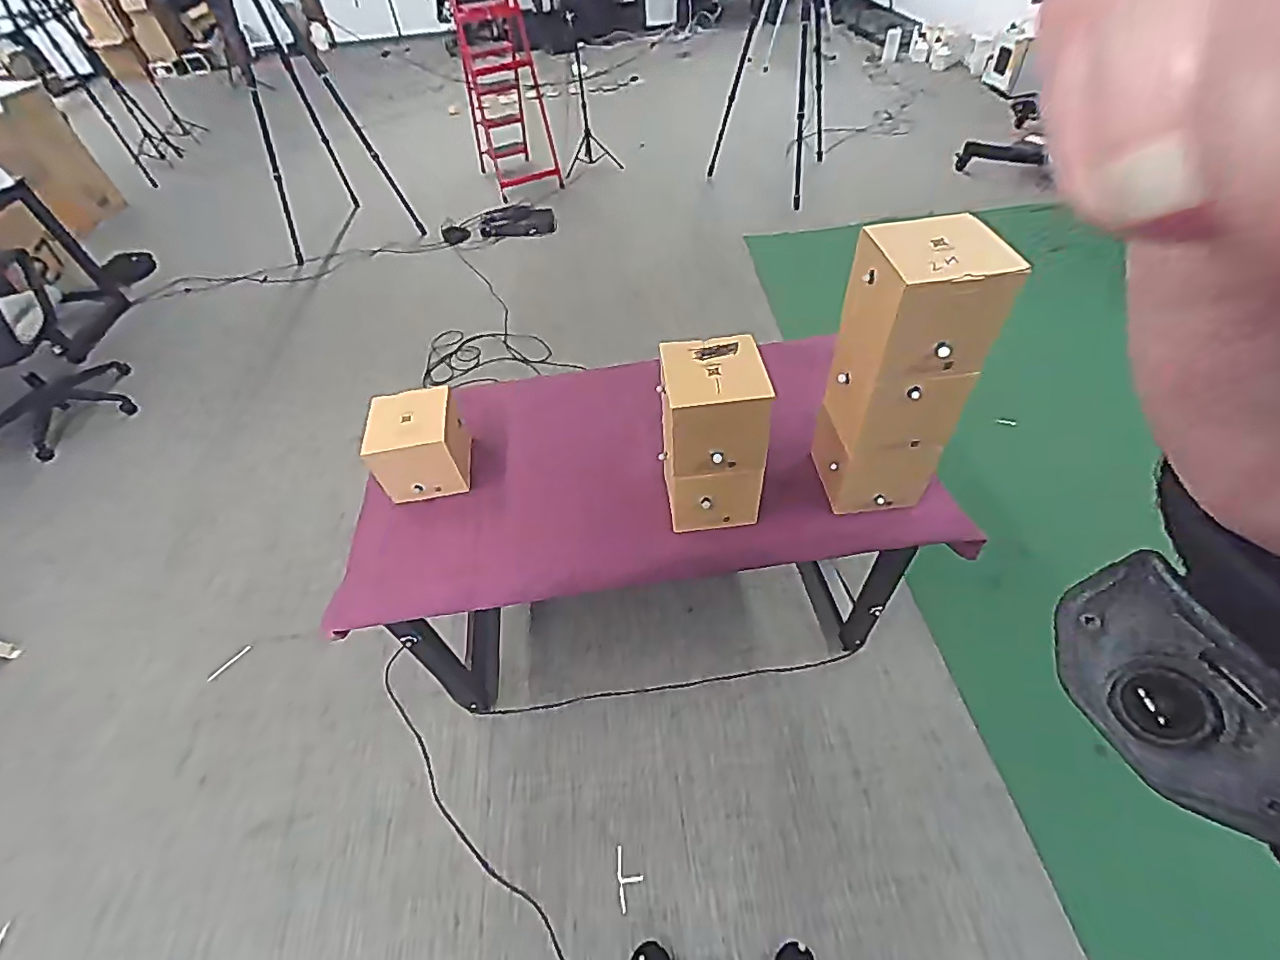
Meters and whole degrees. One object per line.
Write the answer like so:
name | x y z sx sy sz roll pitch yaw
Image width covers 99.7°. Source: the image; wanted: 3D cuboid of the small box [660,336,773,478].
small box | 0.125 -0.126 0.949 0.168 0.176 0.179 -7 49 1

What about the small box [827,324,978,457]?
small box | 0.440 -0.163 0.944 0.168 0.176 0.179 -7 48 2

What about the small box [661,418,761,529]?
small box | 0.137 -0.016 1.071 0.168 0.176 0.179 -7 48 0

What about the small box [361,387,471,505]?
small box | -0.475 -0.073 1.176 0.168 0.176 0.179 -10 50 -3

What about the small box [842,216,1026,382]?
small box | 0.425 -0.272 0.822 0.168 0.176 0.179 -7 50 1
